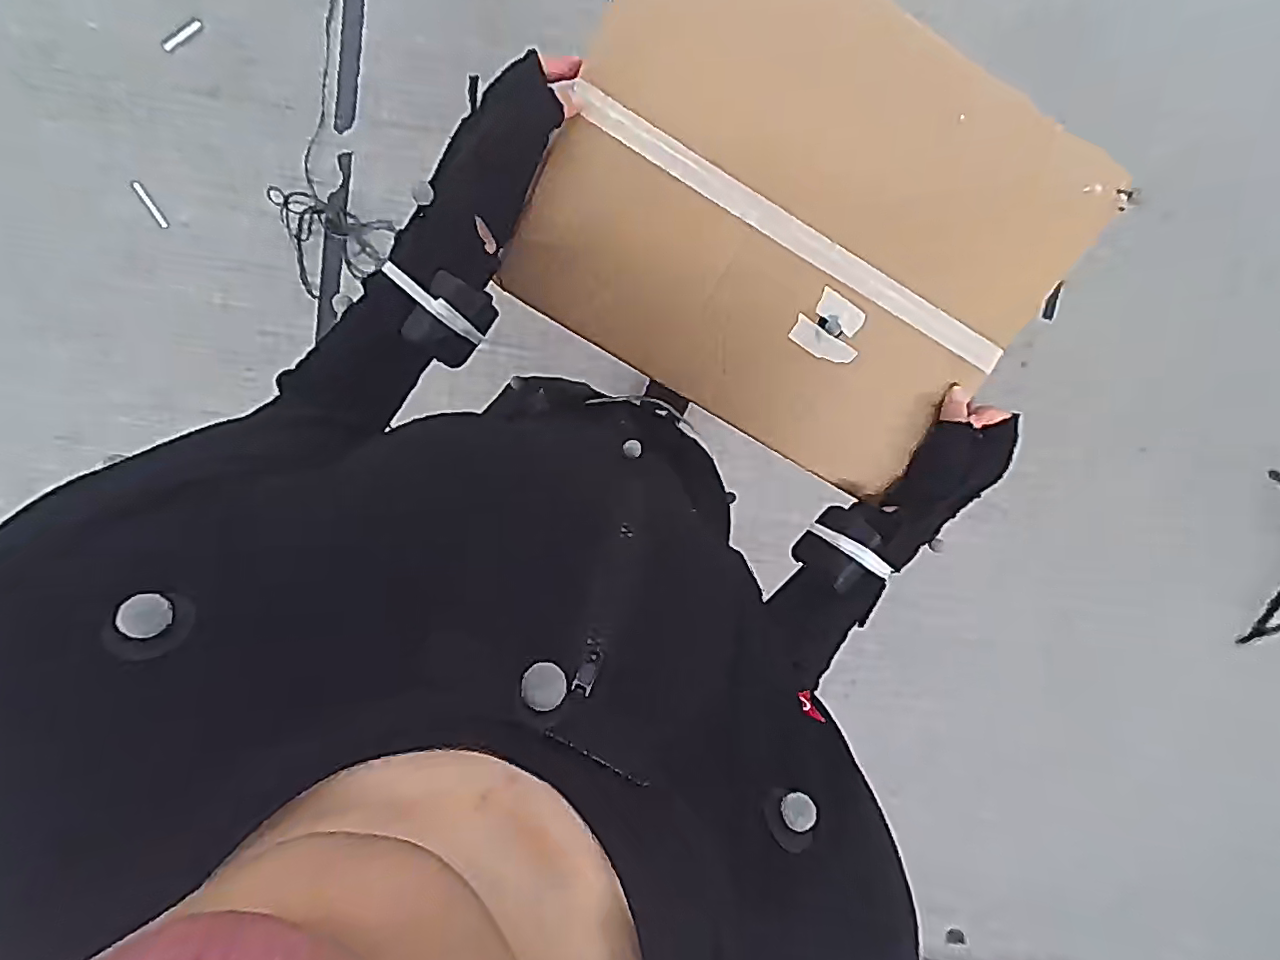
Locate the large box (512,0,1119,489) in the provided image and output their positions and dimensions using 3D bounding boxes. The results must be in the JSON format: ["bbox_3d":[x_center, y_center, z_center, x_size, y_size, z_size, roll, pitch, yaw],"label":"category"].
[{"bbox_3d":[0.137,-0.255,0.585,0.408,0.320,0.320,29,109,-8],"label":"large box"}]
